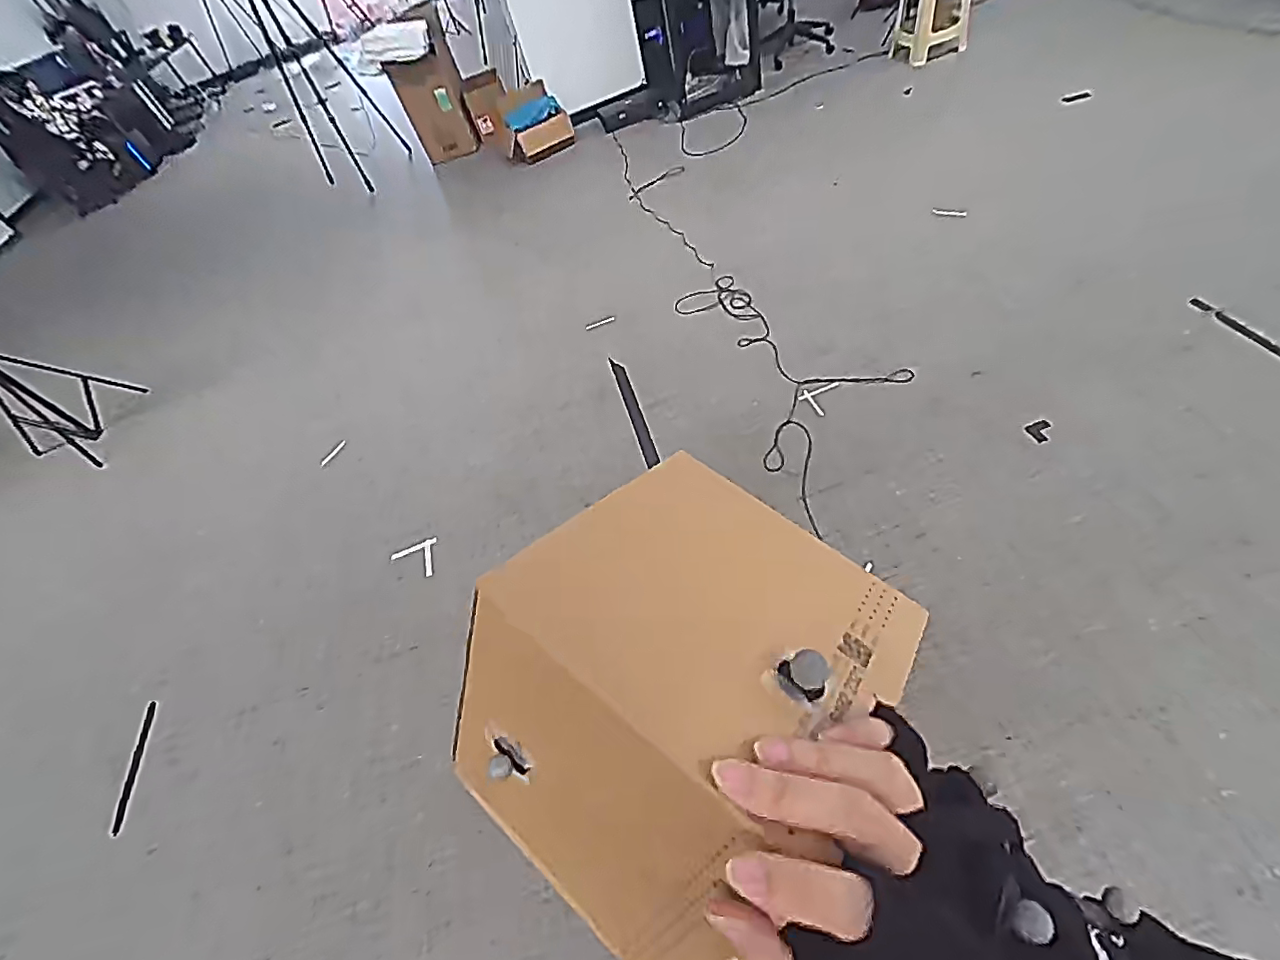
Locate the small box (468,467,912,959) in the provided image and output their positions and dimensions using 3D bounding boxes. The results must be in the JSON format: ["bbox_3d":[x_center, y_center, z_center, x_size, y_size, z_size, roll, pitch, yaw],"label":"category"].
[{"bbox_3d":[0.024,0.128,0.321,0.176,0.179,0.168,34,38,19],"label":"small box"}]
